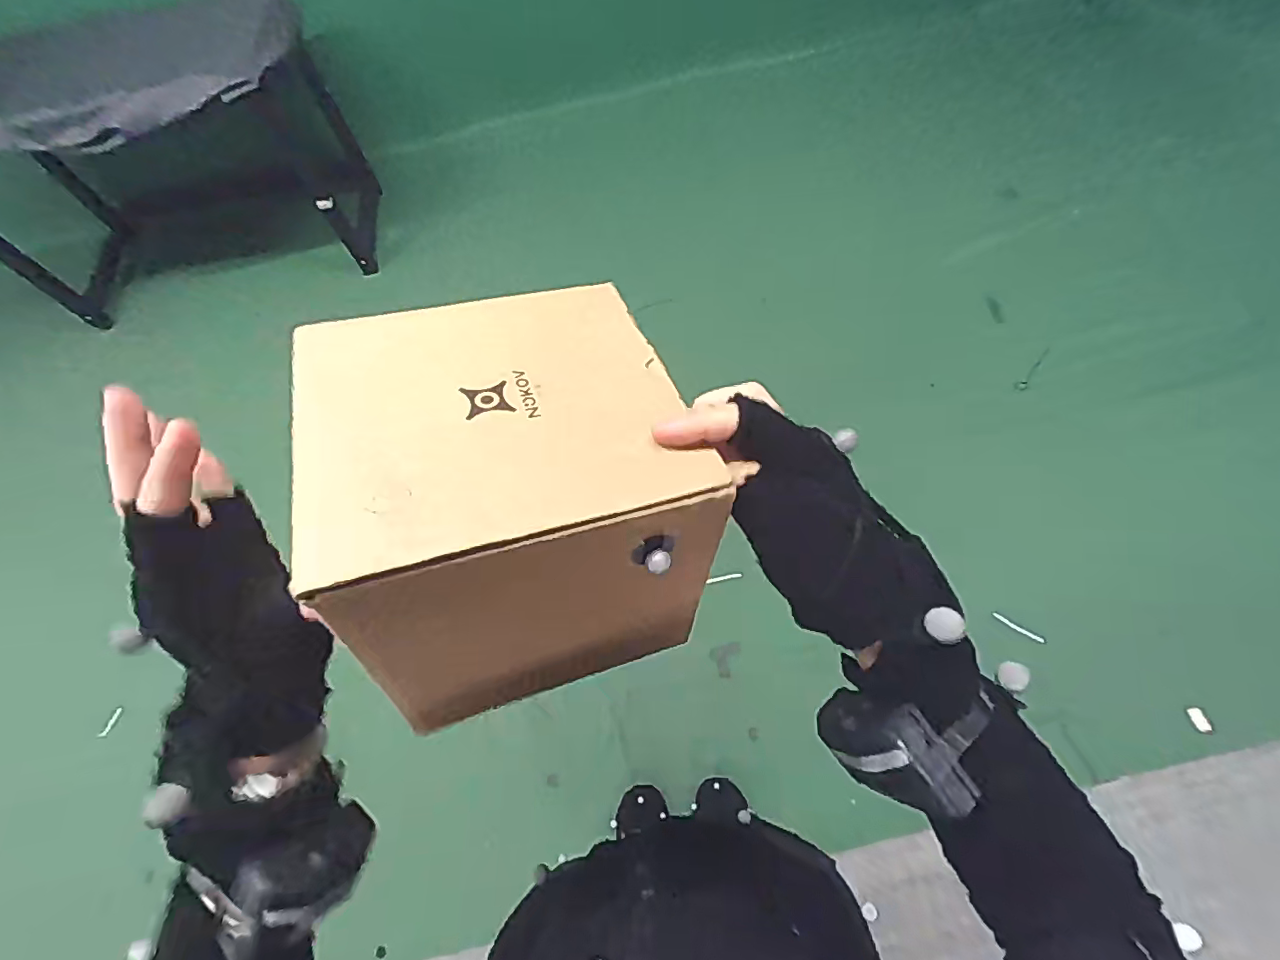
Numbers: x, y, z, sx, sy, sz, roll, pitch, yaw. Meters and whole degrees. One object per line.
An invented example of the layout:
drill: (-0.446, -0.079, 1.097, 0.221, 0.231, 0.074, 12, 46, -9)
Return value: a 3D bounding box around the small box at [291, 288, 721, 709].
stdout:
small box: (-0.074, 0.013, 0.323, 0.179, 0.176, 0.168, -13, 53, -16)
